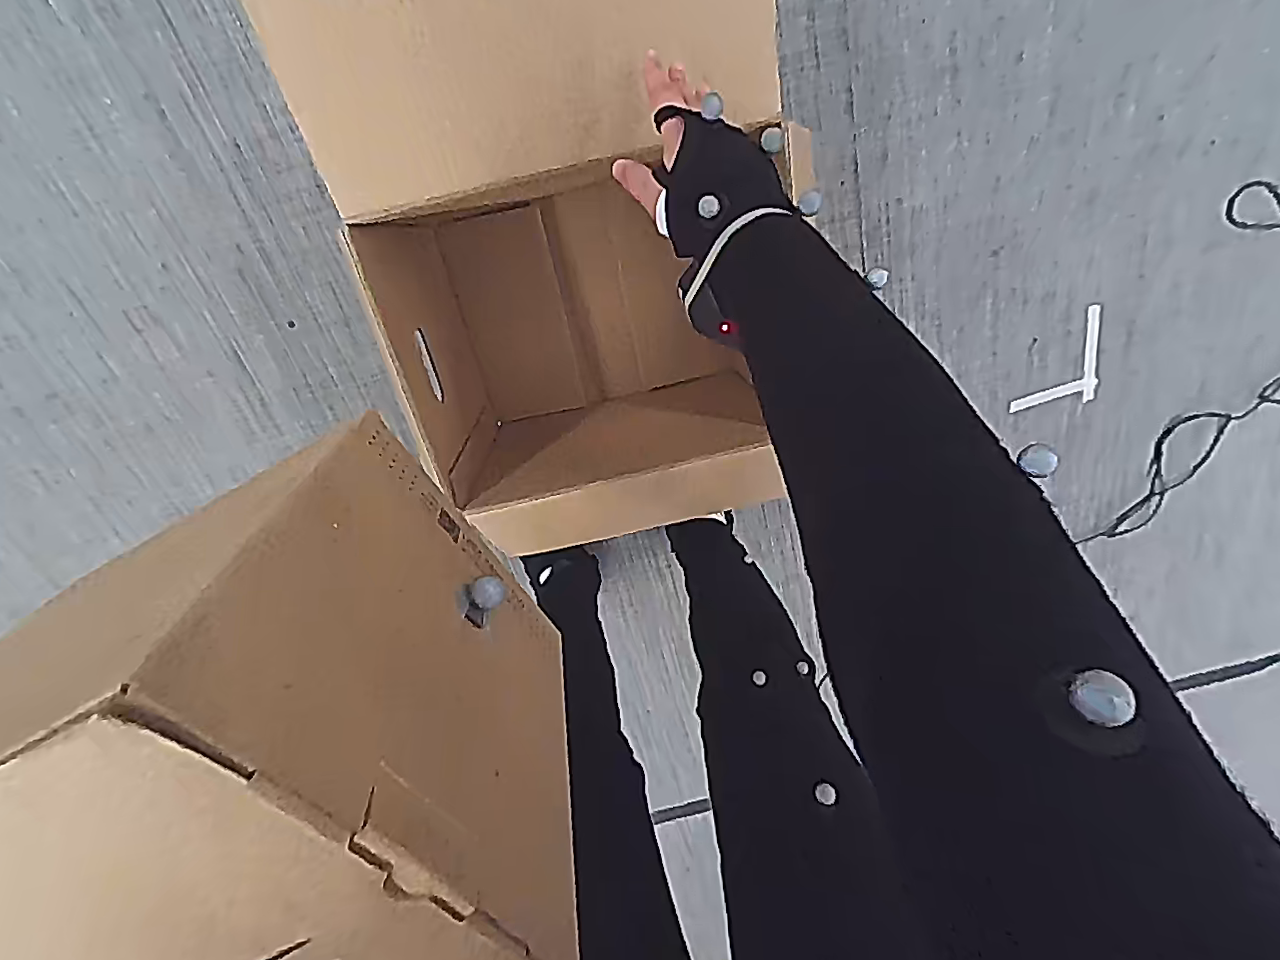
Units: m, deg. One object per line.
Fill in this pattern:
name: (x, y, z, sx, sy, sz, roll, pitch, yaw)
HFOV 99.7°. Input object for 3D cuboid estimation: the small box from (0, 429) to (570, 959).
small box: (-0.145, 0.107, 0.221, 0.179, 0.176, 0.168, -30, 118, 3)
